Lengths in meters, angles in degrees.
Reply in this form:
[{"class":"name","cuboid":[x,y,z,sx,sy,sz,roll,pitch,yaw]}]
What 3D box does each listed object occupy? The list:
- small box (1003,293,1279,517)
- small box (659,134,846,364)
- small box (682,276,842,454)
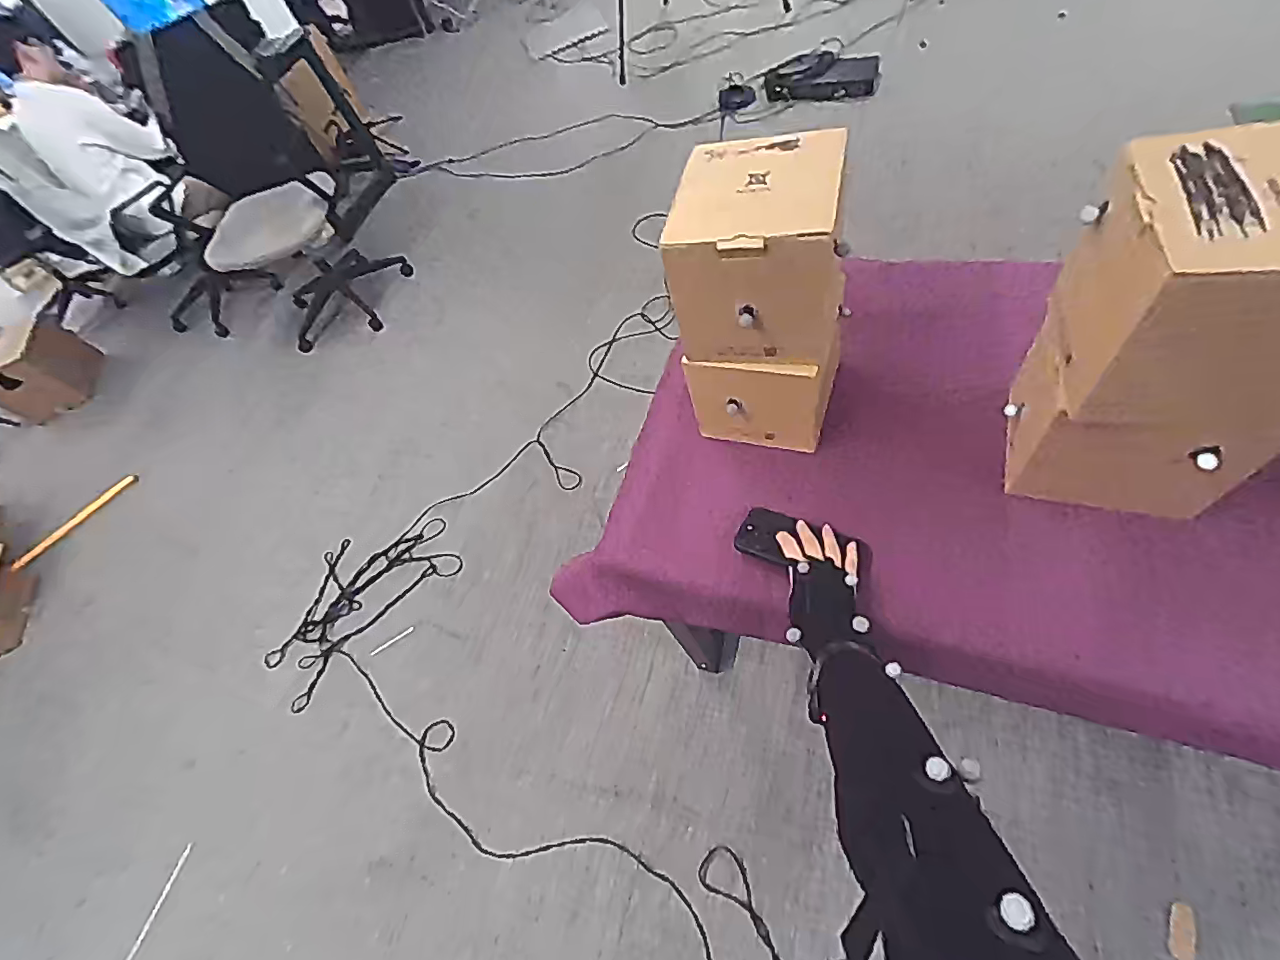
[{"class":"small box","cuboid":[0.522,-0.076,0.583,0.179,0.176,0.168,10,62,23]},{"class":"small box","cuboid":[0.136,-0.249,0.613,0.168,0.176,0.179,6,62,20]},{"class":"small box","cuboid":[0.175,-0.157,0.744,0.168,0.176,0.179,11,62,23]}]
